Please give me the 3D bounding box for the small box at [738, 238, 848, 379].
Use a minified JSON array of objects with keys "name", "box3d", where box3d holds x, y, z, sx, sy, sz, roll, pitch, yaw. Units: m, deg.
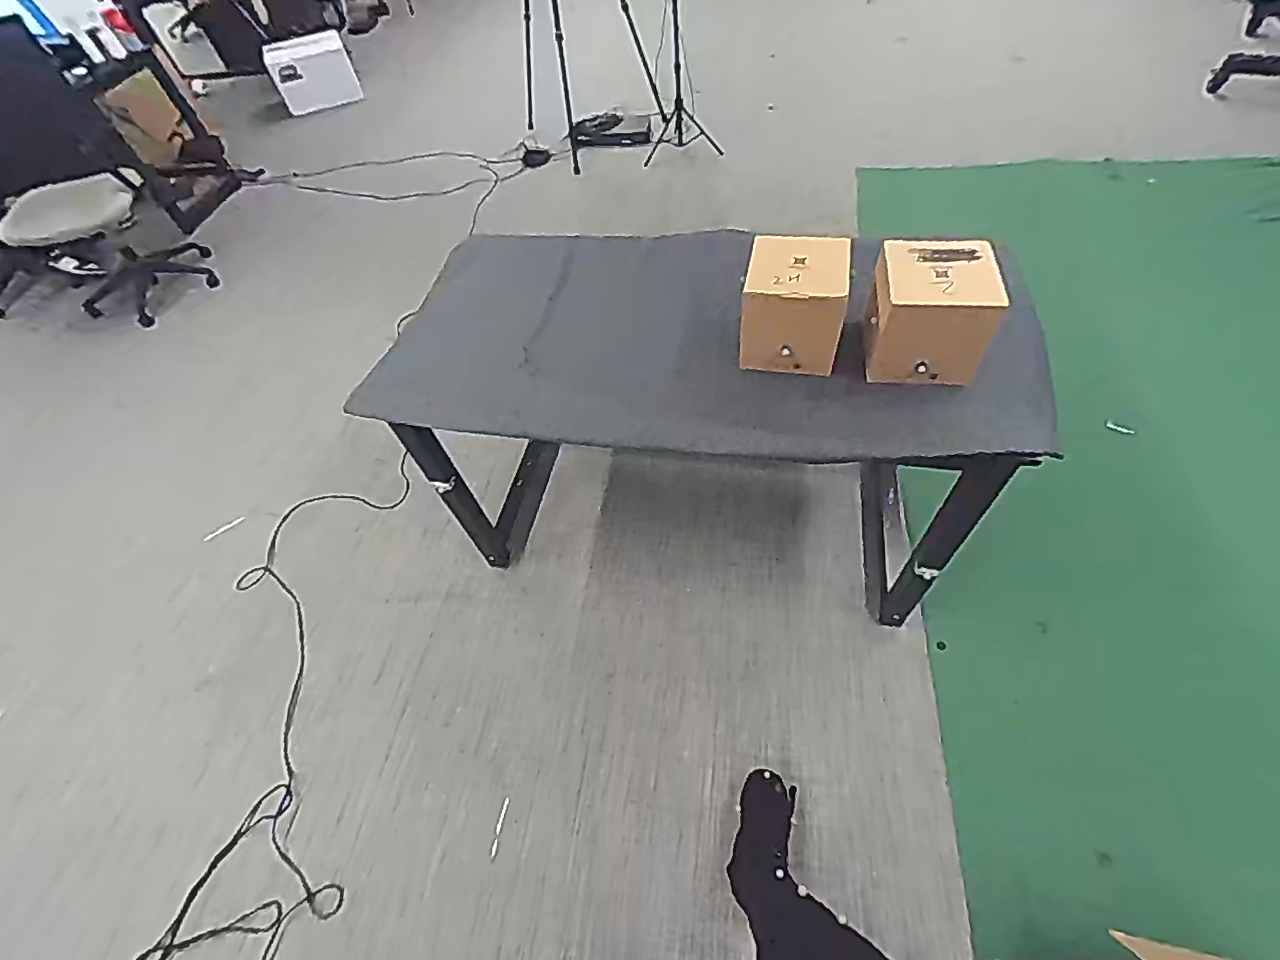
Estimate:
[{"name":"small box","box3d":[0.271,-0.310,0.977,0.168,0.176,0.179,8,55,13]}]
